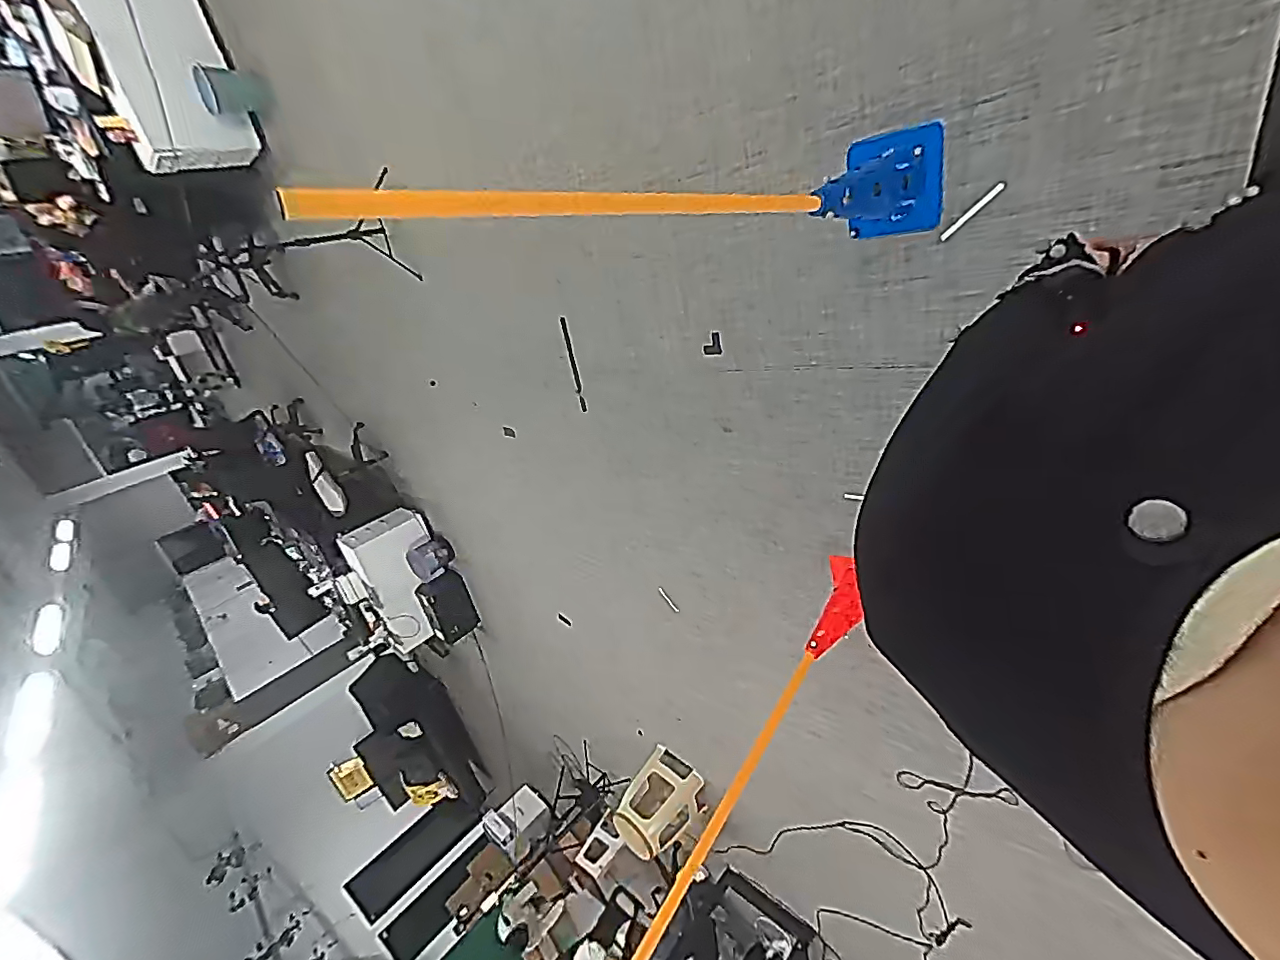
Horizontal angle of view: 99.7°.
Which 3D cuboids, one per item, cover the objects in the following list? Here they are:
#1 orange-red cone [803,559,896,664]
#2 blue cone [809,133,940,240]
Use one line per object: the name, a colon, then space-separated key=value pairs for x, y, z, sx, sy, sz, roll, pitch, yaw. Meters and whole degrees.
orange-red cone: x=0.582 y=0.414 z=1.588 sx=0.199 sy=0.360 sz=0.198 roll=4 pitch=119 yaw=45
blue cone: x=0.442 y=-0.564 z=1.080 sx=0.193 sy=0.380 sz=0.192 roll=15 pitch=126 yaw=43
